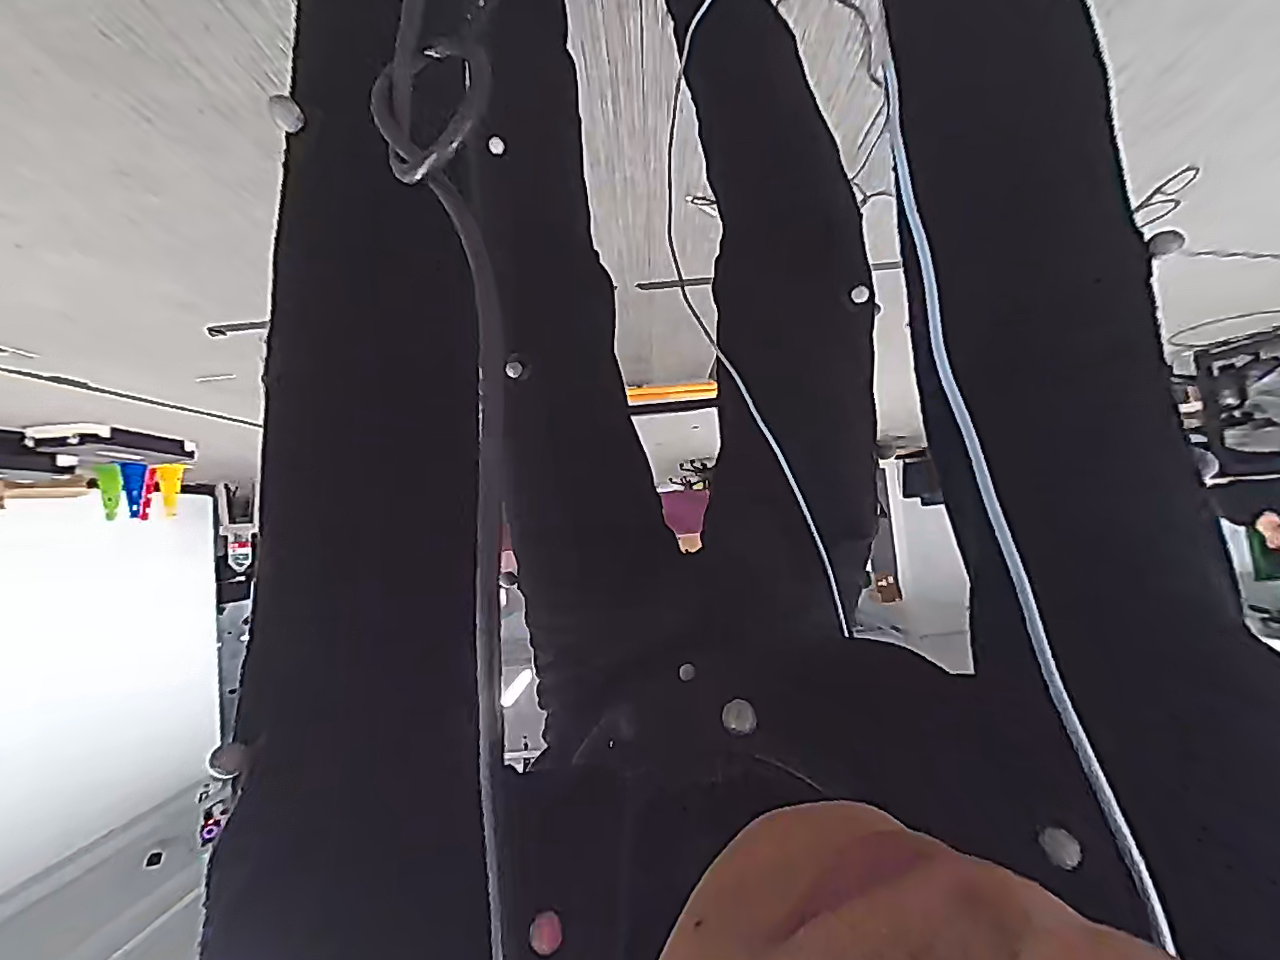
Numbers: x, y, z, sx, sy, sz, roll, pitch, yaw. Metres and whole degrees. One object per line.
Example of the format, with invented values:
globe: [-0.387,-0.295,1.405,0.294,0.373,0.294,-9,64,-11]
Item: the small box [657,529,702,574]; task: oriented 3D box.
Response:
small box: [0.167,0.303,2.322,0.168,0.176,0.179,-5,176,-3]
